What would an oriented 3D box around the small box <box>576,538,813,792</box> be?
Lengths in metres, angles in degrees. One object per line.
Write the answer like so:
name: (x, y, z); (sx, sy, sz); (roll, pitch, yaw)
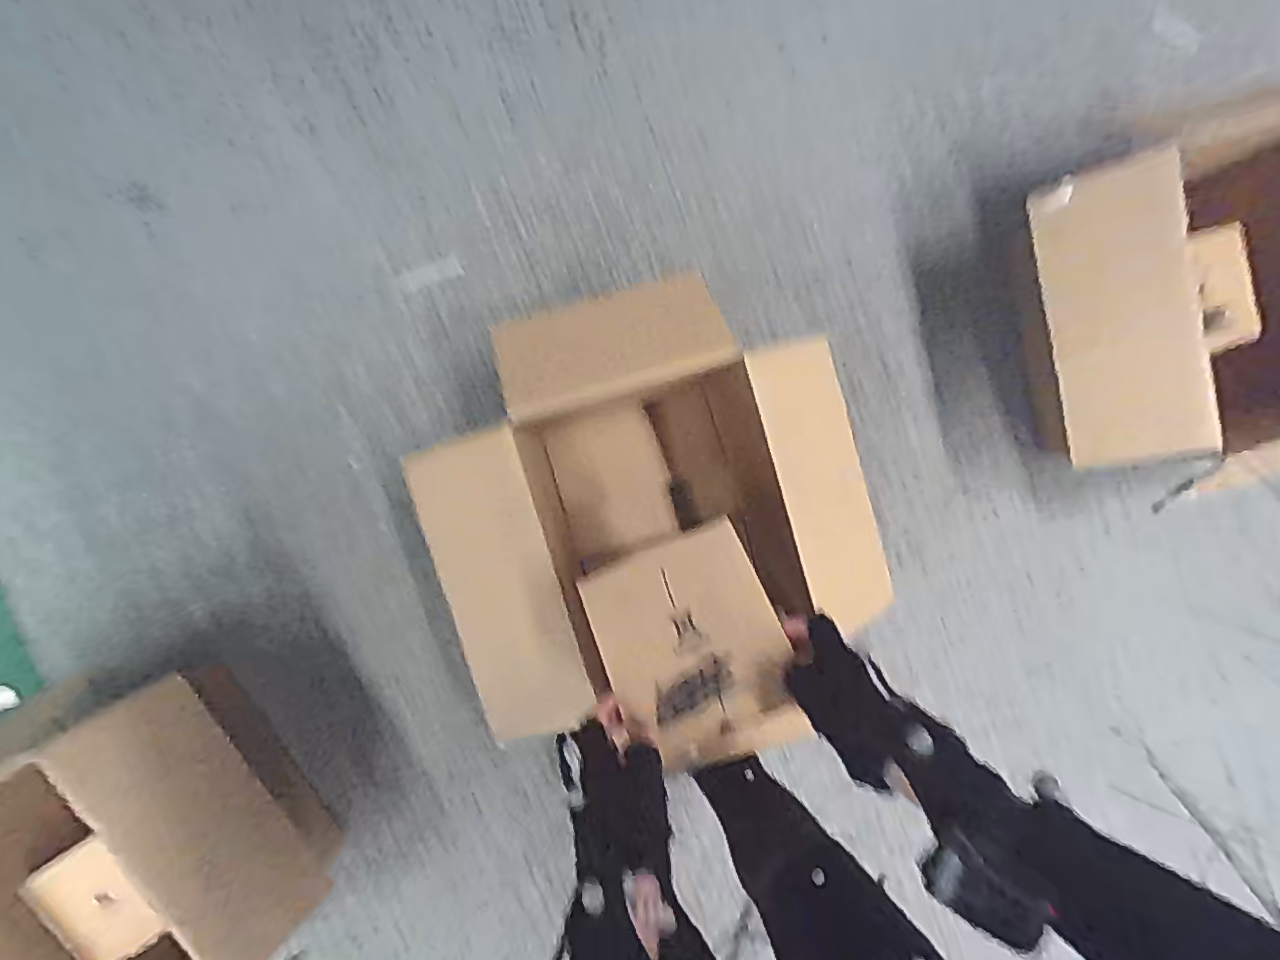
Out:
small box: (0.057, 0.186, 0.556); (0.168, 0.176, 0.179); (-24, 66, 1)
